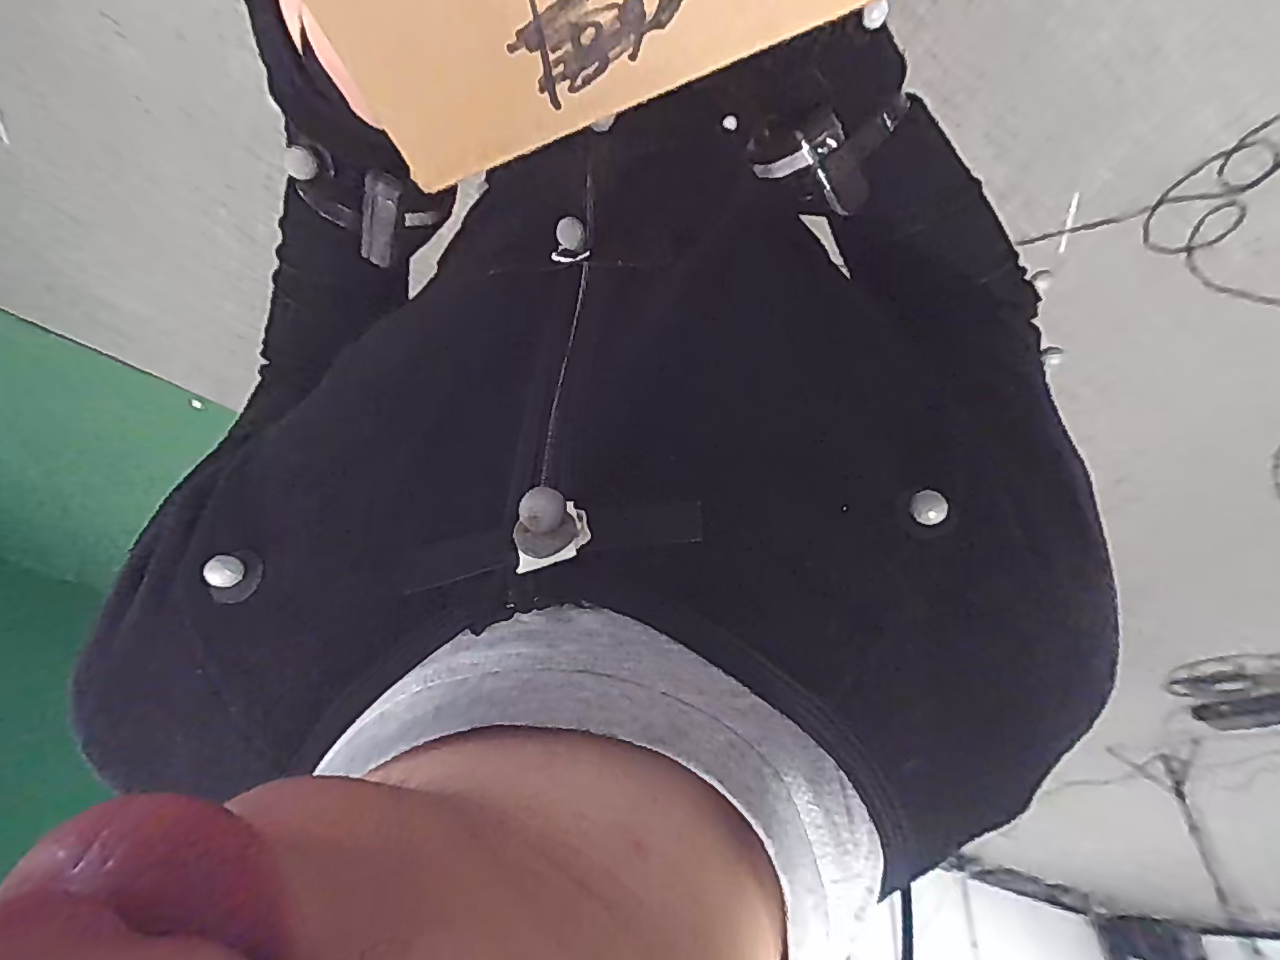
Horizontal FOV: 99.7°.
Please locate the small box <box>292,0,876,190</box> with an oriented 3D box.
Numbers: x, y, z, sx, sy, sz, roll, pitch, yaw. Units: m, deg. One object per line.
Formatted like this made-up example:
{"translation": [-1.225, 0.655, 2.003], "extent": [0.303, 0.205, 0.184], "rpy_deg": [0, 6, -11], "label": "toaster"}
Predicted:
{"translation": [-0.040, -0.225, 0.138], "extent": [0.168, 0.176, 0.179], "rpy_deg": [-22, 150, 3], "label": "small box"}
